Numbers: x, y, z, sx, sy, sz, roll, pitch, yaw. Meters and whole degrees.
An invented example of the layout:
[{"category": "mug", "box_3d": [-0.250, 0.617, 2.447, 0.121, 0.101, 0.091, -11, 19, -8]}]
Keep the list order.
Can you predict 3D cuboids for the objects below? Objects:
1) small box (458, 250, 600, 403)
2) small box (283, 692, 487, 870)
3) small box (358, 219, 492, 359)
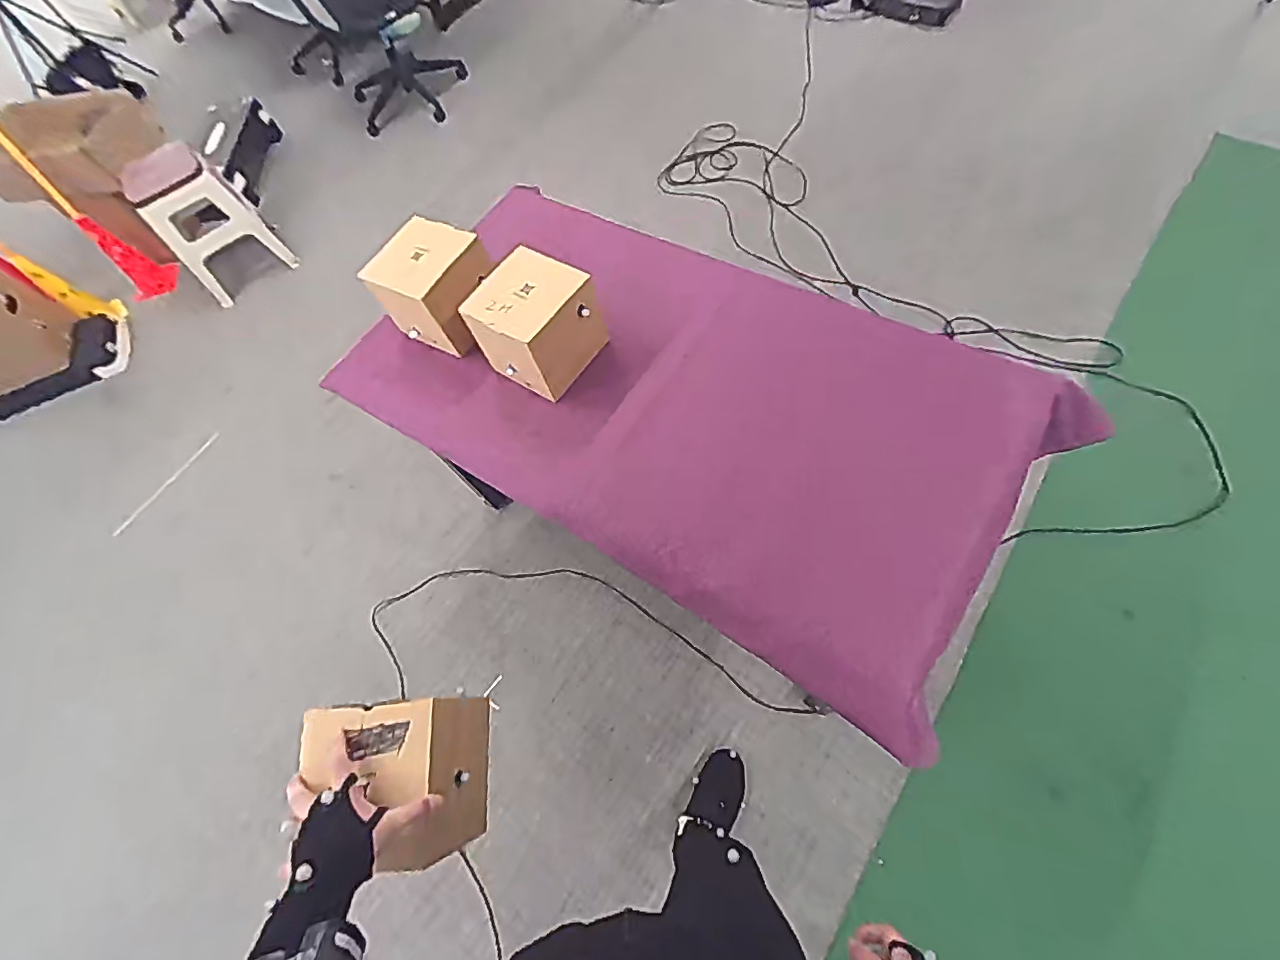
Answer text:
[{"category": "small box", "box_3d": [-0.190, -0.278, 0.993, 0.168, 0.176, 0.179, 30, 72, 21]}, {"category": "small box", "box_3d": [-0.306, 0.369, 0.691, 0.168, 0.176, 0.179, -6, 69, 7]}, {"category": "small box", "box_3d": [-0.404, -0.376, 1.076, 0.168, 0.176, 0.179, 25, 71, 20]}]
